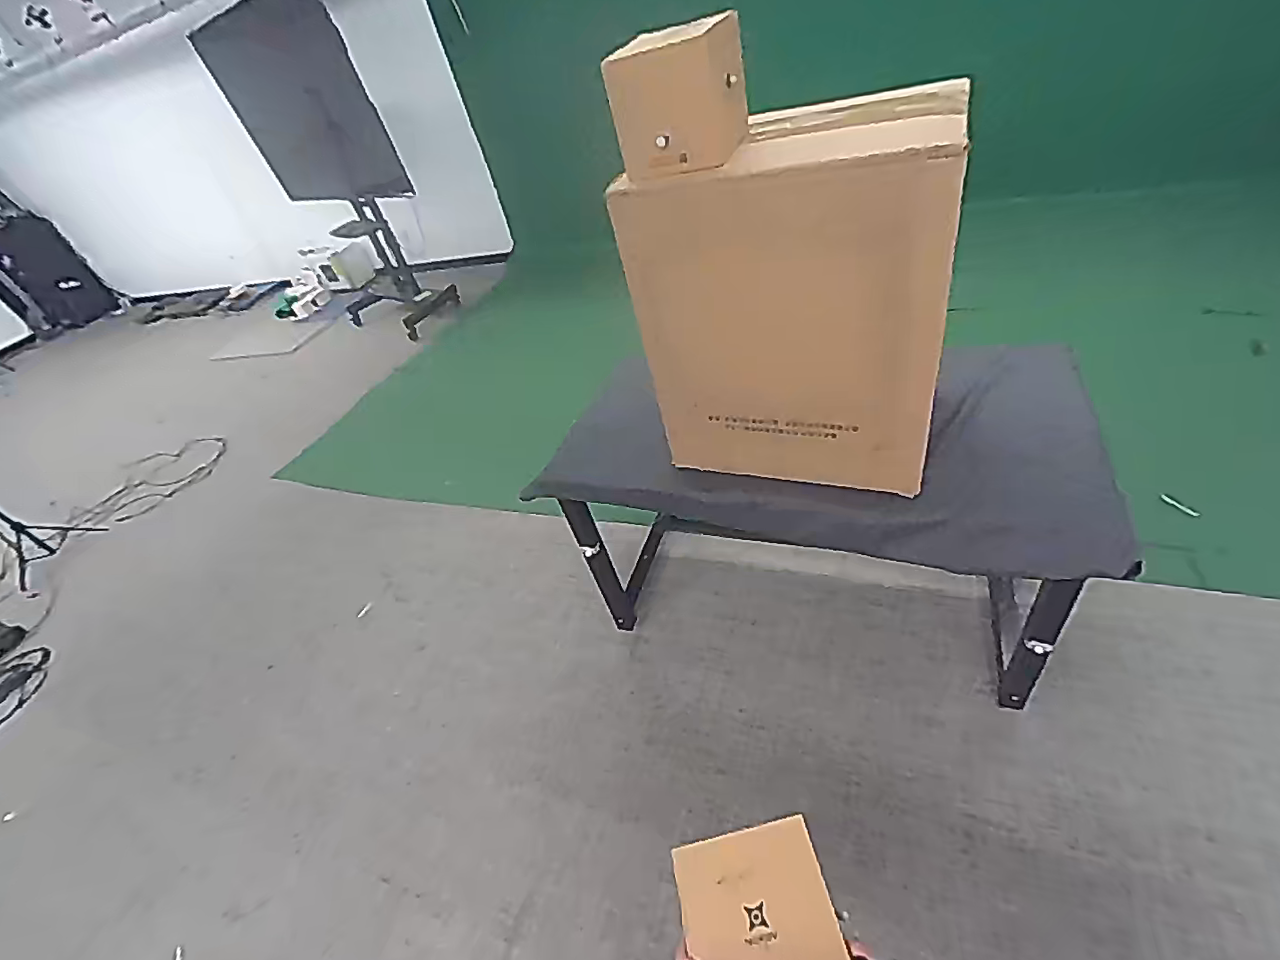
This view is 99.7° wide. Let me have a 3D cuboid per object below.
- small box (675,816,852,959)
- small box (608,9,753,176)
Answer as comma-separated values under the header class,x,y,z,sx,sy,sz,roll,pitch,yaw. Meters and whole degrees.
class,x,y,z,sx,sy,sz,roll,pitch,yaw
small box,0.152,0.534,0.633,0.168,0.176,0.179,-17,39,3
small box,0.075,-0.607,0.857,0.168,0.176,0.179,8,49,28
